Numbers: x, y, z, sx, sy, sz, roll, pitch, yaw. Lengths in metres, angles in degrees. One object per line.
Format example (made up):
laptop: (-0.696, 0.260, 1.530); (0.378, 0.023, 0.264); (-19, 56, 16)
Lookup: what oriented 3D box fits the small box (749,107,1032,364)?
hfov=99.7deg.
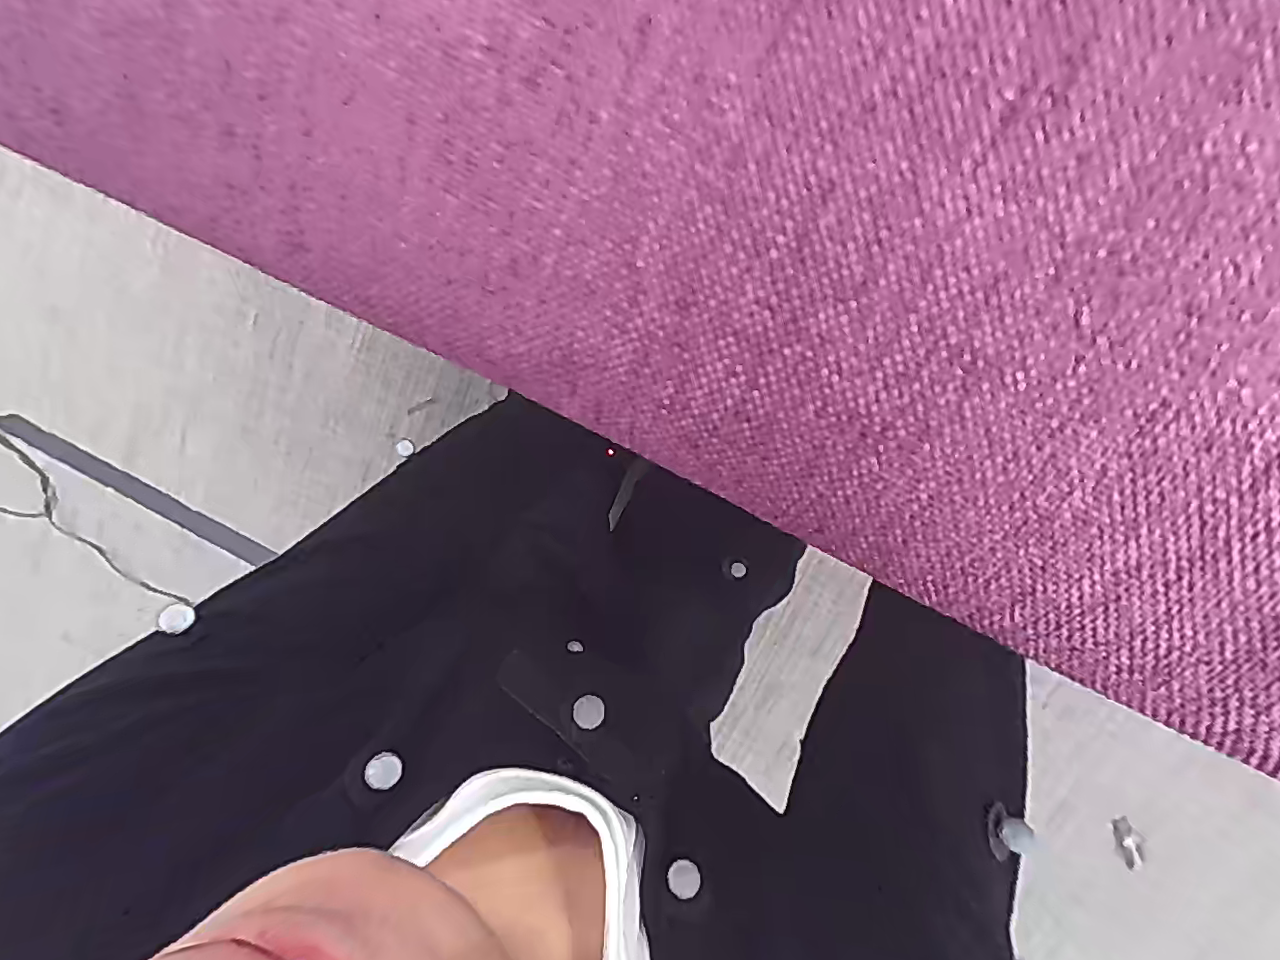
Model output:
small box: (0.225, -0.223, 0.542); (0.179, 0.176, 0.168); (26, 106, 7)
